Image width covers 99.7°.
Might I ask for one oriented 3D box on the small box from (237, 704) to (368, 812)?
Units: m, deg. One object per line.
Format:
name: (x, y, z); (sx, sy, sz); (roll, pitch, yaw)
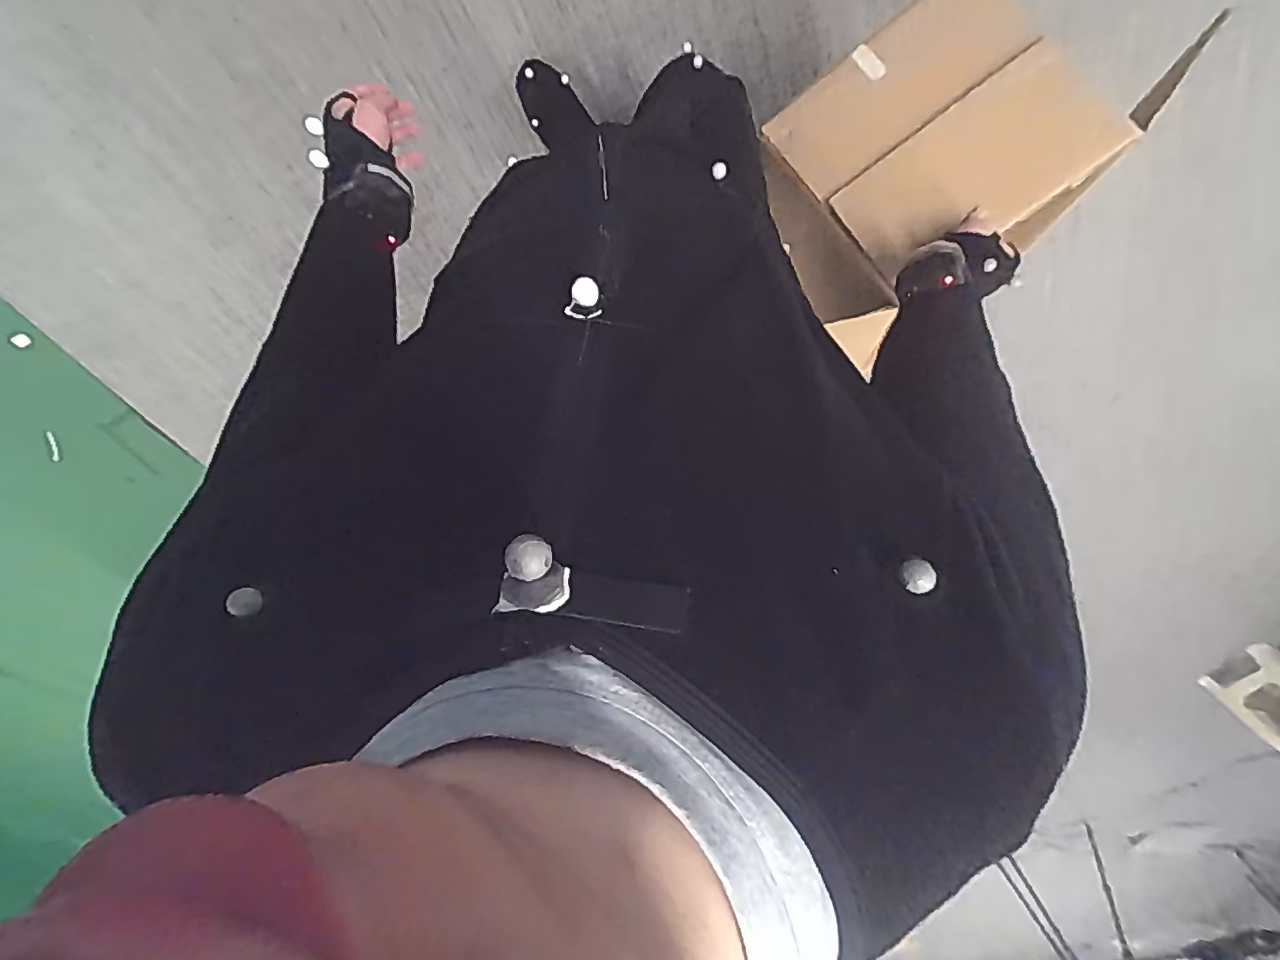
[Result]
small box: (-0.797, 0.667, 1.302); (0.168, 0.176, 0.179); (-17, 127, 11)
